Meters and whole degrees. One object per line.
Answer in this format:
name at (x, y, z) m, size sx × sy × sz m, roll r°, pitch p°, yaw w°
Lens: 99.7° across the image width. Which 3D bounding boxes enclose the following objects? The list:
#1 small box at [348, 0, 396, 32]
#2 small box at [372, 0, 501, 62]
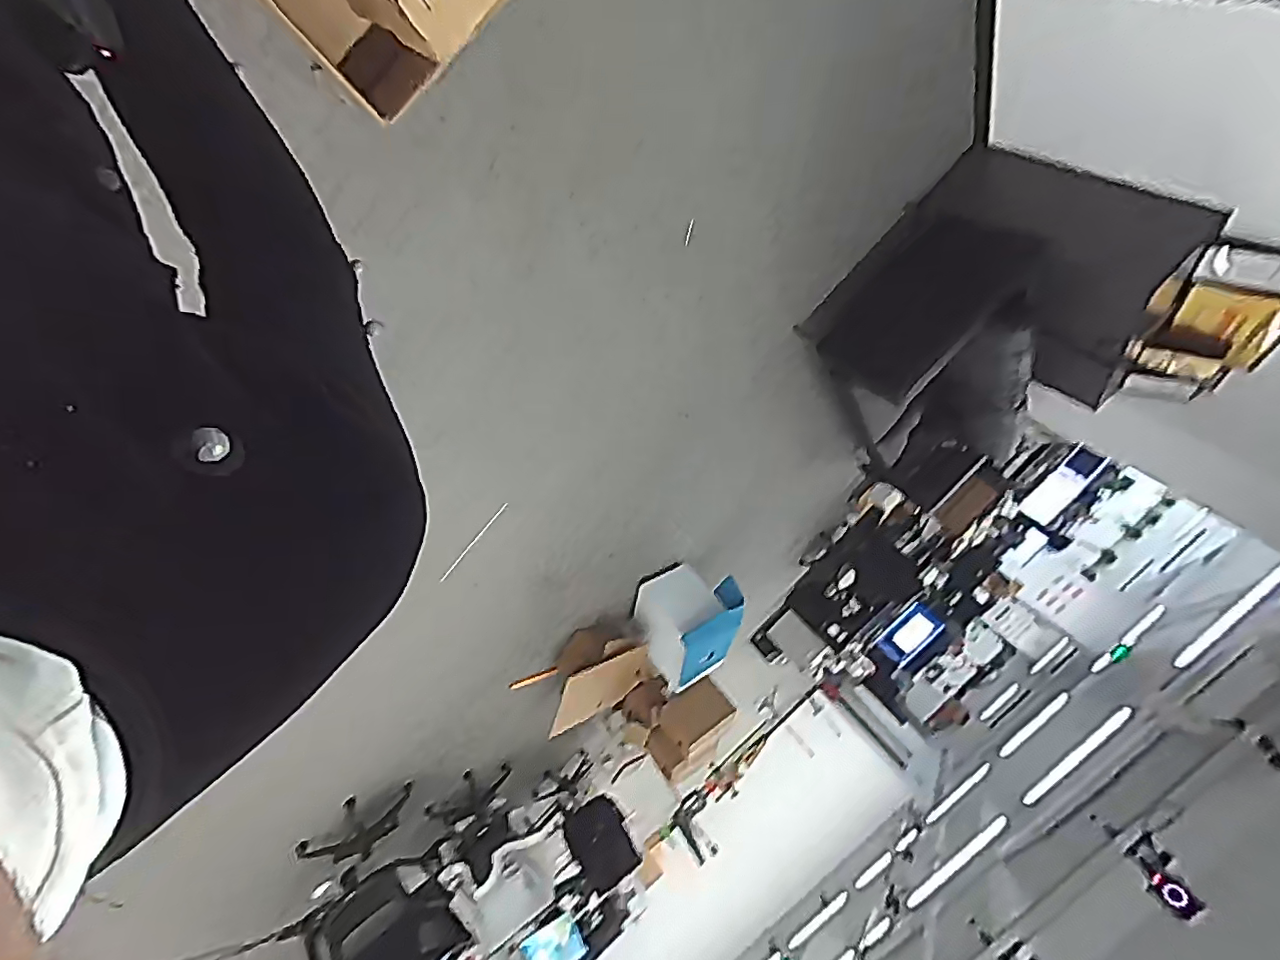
small box at (-0.361, -0.769, 0.734) m, size 0.179 × 0.176 × 0.168 m, roll -43°, pitch 147°, yaw 2°
small box at (-0.269, -0.661, 0.651) m, size 0.179 × 0.176 × 0.168 m, roll -46°, pitch 147°, yaw 5°
